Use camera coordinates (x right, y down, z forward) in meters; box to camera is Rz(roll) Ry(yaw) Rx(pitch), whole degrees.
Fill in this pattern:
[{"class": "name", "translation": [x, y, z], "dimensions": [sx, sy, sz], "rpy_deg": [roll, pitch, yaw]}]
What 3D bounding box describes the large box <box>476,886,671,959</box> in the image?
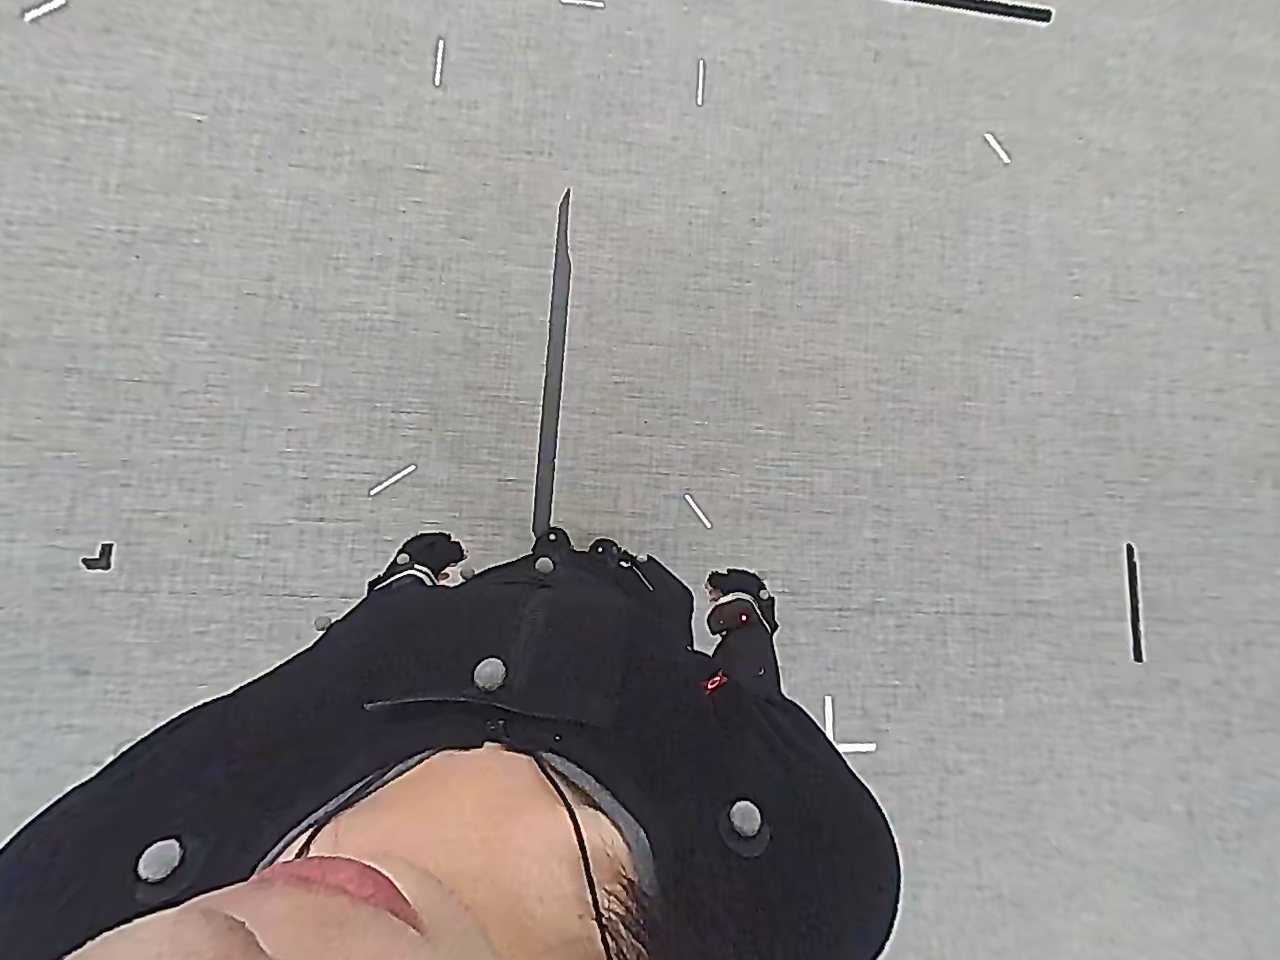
[{"class": "large box", "translation": [-0.126, 1.109, 1.099], "dimensions": [0.408, 0.320, 0.320], "rpy_deg": [-4, 83, -6]}]
